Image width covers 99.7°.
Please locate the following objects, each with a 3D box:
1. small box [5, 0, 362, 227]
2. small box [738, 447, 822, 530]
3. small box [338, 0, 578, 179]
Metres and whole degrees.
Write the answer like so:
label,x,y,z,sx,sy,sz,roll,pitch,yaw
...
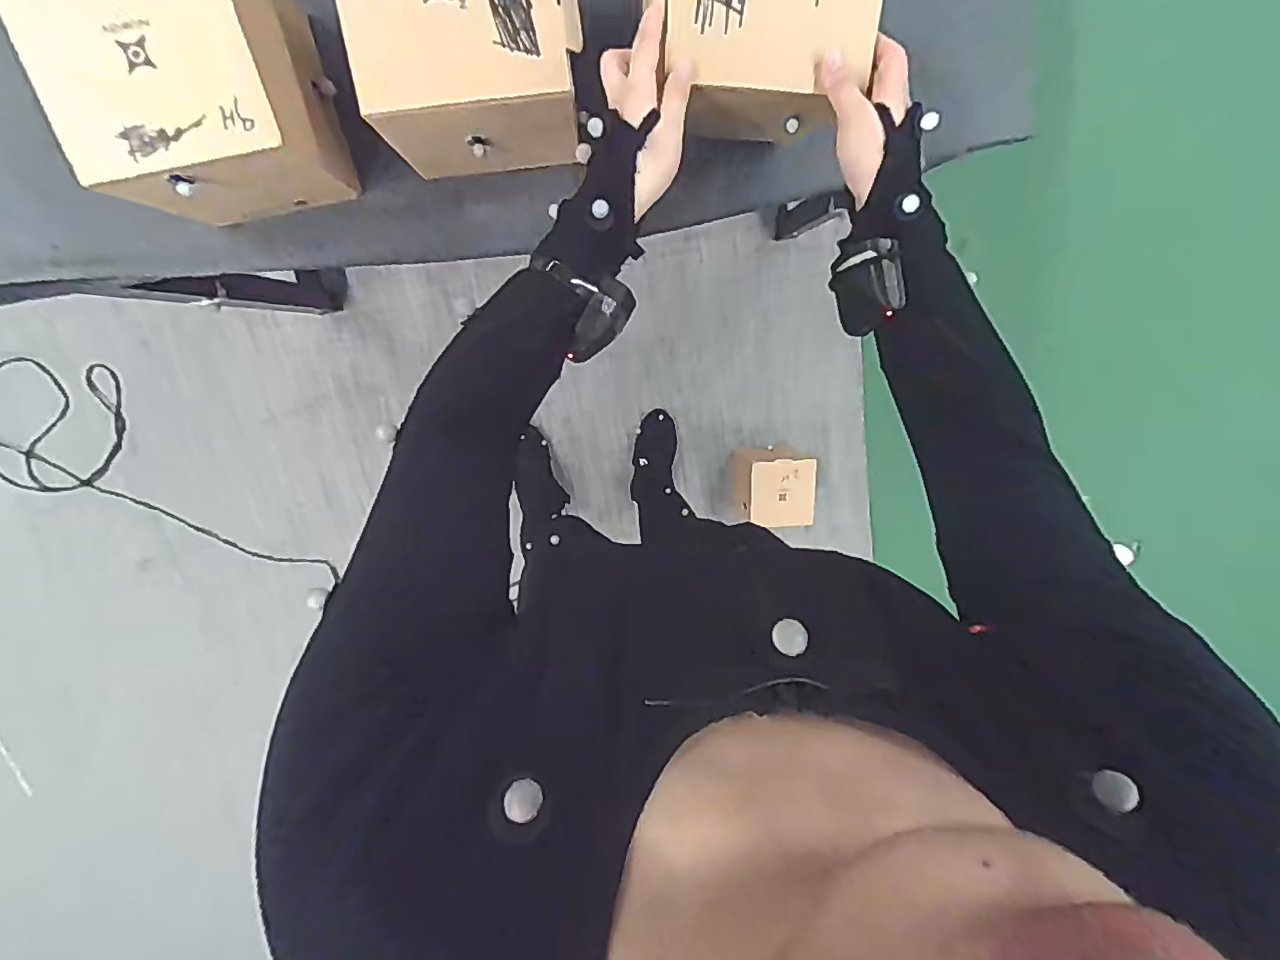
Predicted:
label,x,y,z,sx,sy,sz,roll,pitch,yaw
small box,-0.390,-0.353,0.493,0.168,0.176,0.179,-12,105,-1
small box,0.358,0.018,1.410,0.168,0.176,0.179,-3,105,-4
small box,-0.154,-0.399,0.500,0.179,0.176,0.168,-8,104,-1
